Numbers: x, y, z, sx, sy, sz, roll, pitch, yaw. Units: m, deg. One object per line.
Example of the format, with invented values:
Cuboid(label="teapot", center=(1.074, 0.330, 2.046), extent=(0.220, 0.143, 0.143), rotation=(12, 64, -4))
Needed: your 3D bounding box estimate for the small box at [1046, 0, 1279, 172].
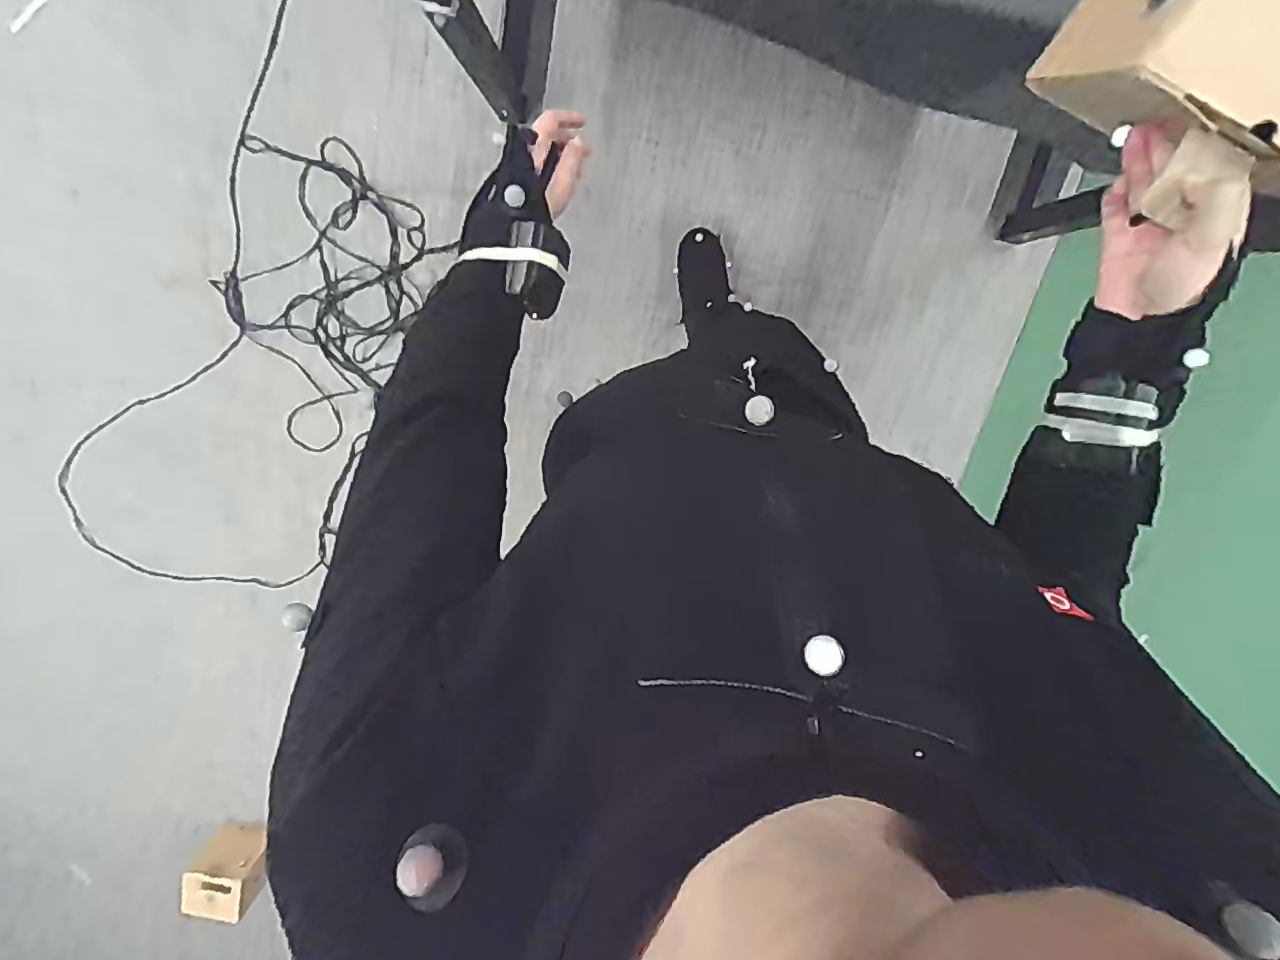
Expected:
Cuboid(label="small box", center=(0.392, -0.302, 0.308), extent=(0.168, 0.176, 0.179), rotation=(25, 126, -5))
